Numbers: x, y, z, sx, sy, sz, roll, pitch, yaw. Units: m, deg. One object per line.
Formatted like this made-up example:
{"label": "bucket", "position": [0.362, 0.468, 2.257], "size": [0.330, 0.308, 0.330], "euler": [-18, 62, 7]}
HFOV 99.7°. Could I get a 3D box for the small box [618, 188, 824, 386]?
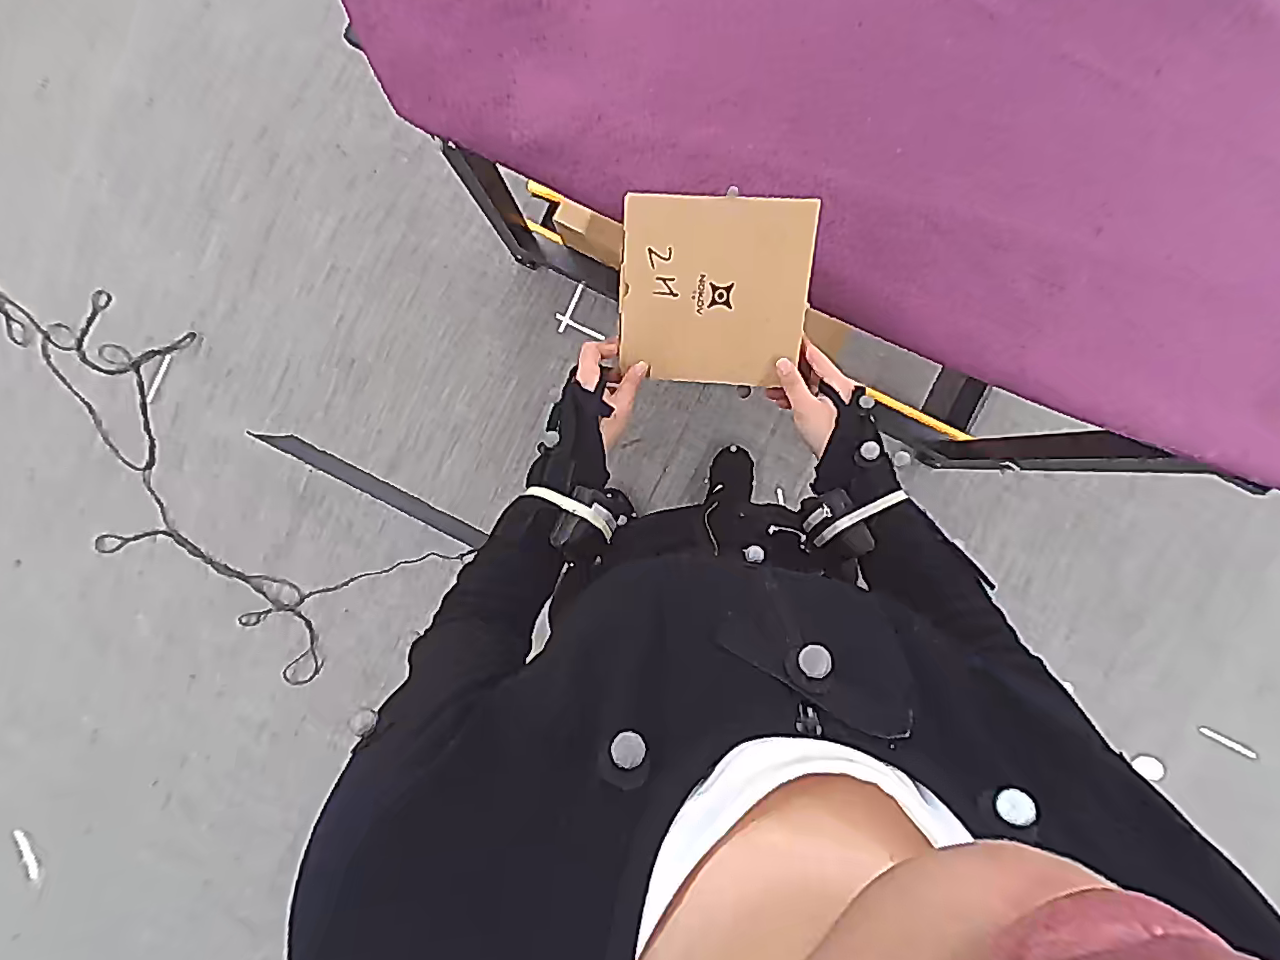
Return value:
{"label": "small box", "position": [0.079, -0.198, 0.572], "size": [0.179, 0.176, 0.168], "euler": [5, 107, 7]}
